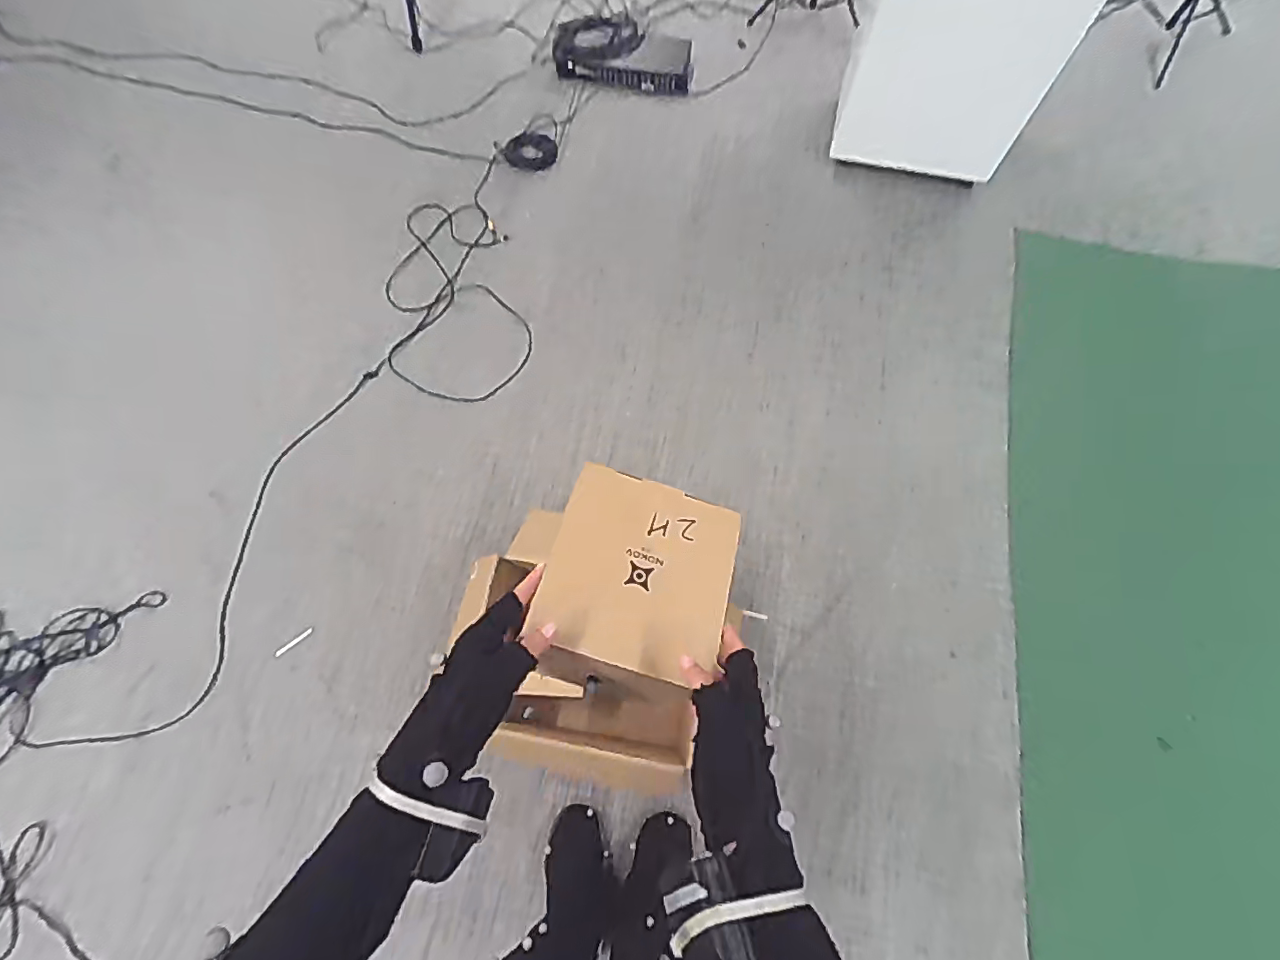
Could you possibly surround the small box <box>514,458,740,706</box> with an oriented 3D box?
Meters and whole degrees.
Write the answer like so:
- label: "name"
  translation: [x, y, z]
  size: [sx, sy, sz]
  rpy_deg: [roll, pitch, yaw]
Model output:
- label: "small box"
  translation: [-0.019, 0.113, 0.542]
  size: [0.168, 0.176, 0.179]
  rpy_deg: [20, 59, -5]
